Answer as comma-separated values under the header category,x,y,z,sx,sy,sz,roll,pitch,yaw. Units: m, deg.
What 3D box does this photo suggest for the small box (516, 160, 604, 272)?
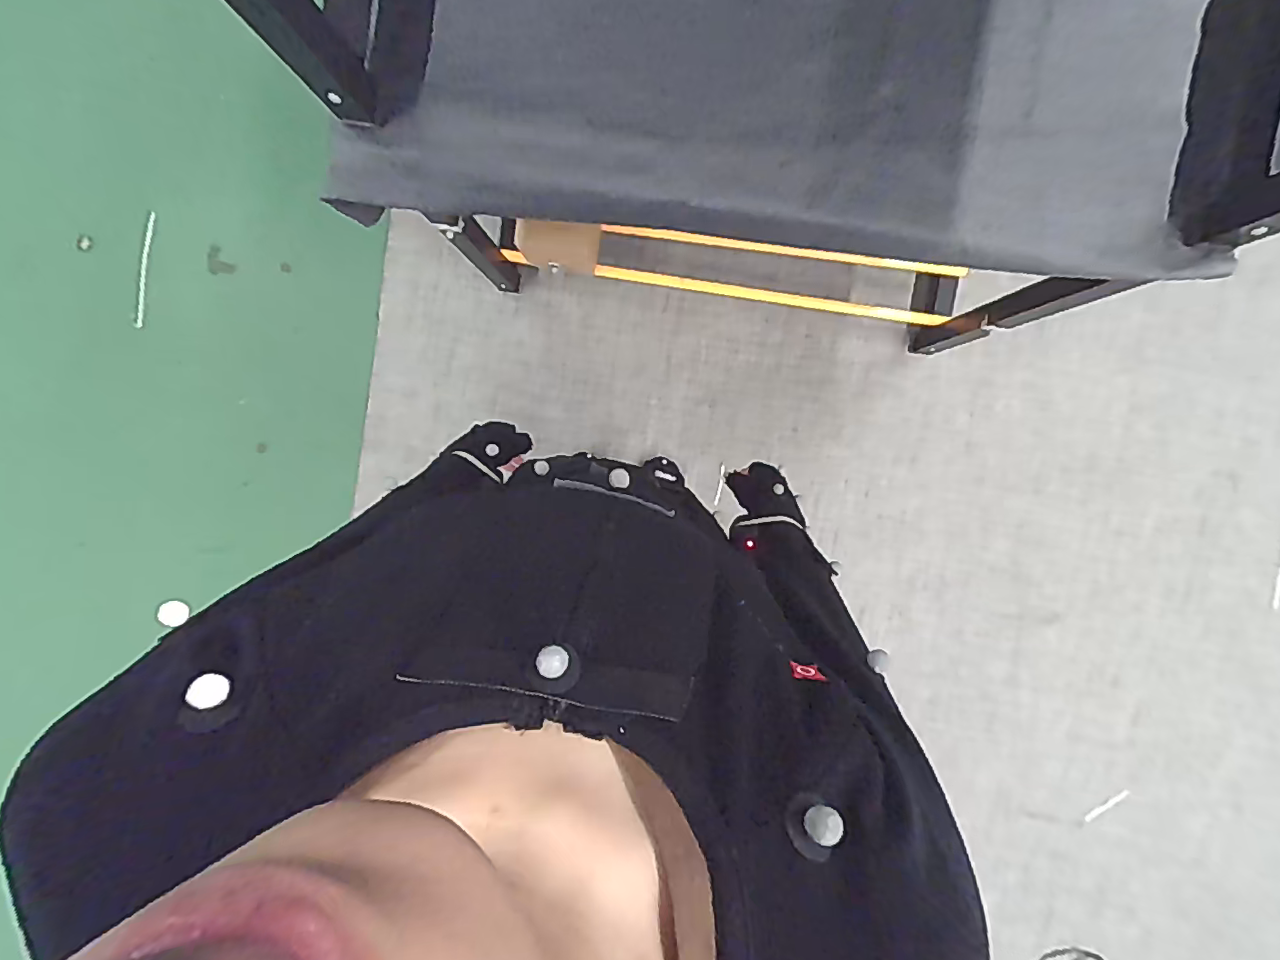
category,x,y,z,sx,sy,sz,roll,pitch,yaw
small box,-0.180,-0.607,1.261,0.168,0.176,0.179,8,96,1
